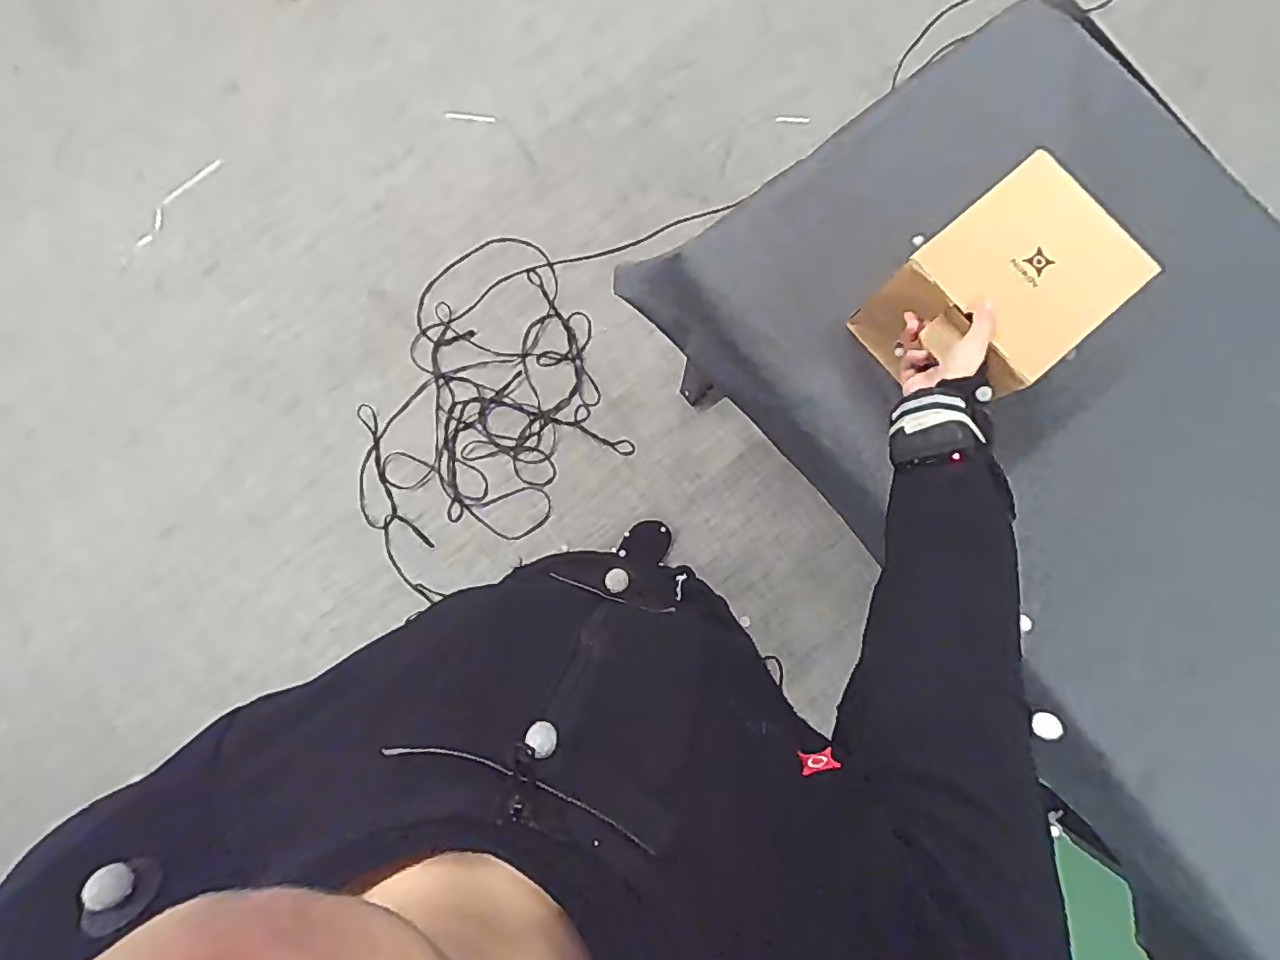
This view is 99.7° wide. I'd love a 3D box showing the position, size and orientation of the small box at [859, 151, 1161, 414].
[{"bbox_3d":[0.381,-0.198,0.594,0.179,0.176,0.168,-41,86,-3],"label":"small box"}]
